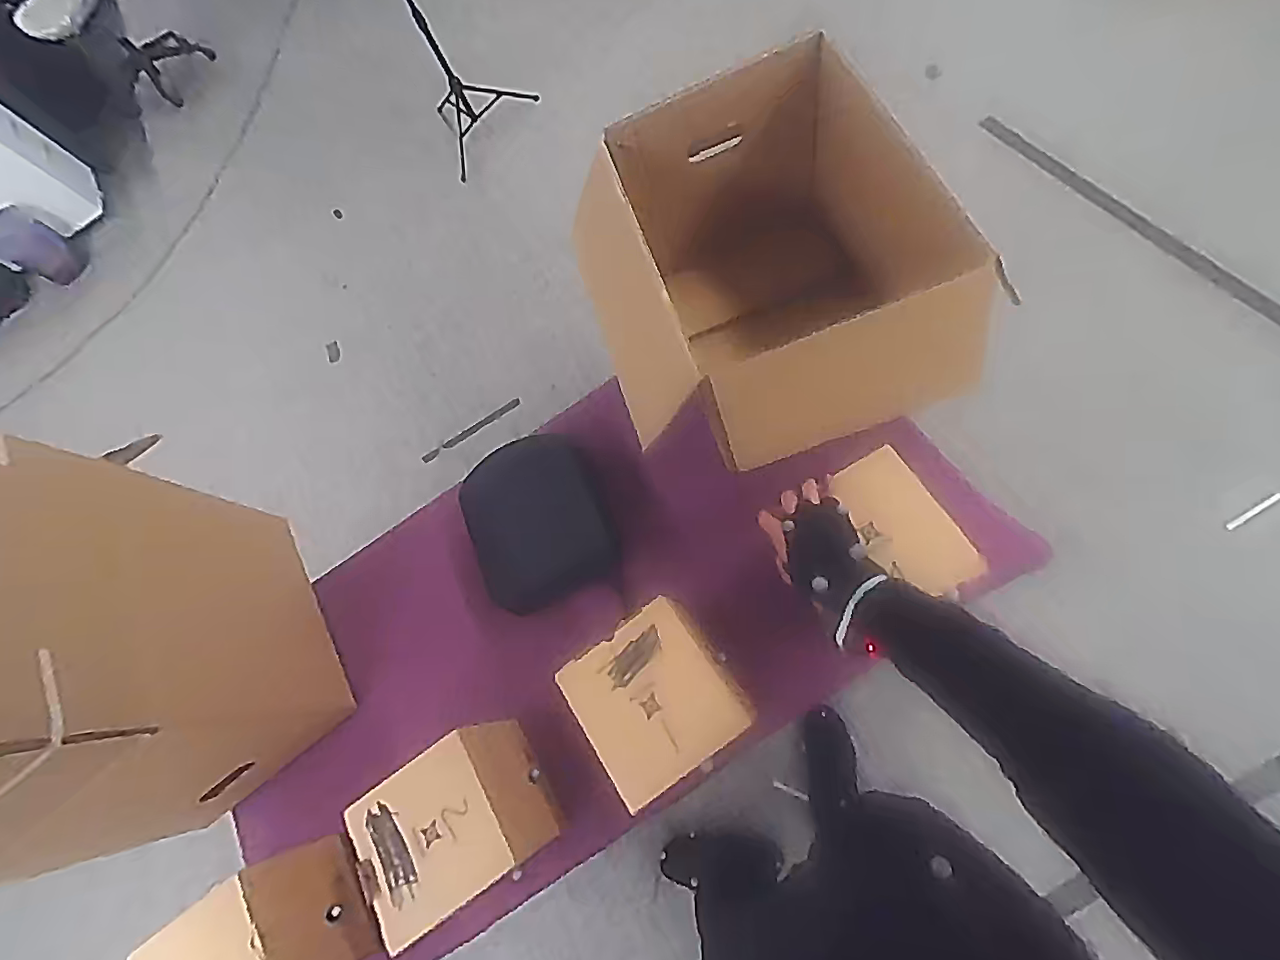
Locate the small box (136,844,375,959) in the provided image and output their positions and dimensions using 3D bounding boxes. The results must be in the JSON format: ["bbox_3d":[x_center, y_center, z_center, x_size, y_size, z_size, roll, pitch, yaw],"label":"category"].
[{"bbox_3d":[-0.494,0.626,0.709,0.179,0.176,0.168,-38,66,-2],"label":"small box"}]

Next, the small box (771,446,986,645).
[{"bbox_3d":[0.282,0.093,0.684,0.168,0.176,0.179,-31,67,4],"label":"small box"}]
